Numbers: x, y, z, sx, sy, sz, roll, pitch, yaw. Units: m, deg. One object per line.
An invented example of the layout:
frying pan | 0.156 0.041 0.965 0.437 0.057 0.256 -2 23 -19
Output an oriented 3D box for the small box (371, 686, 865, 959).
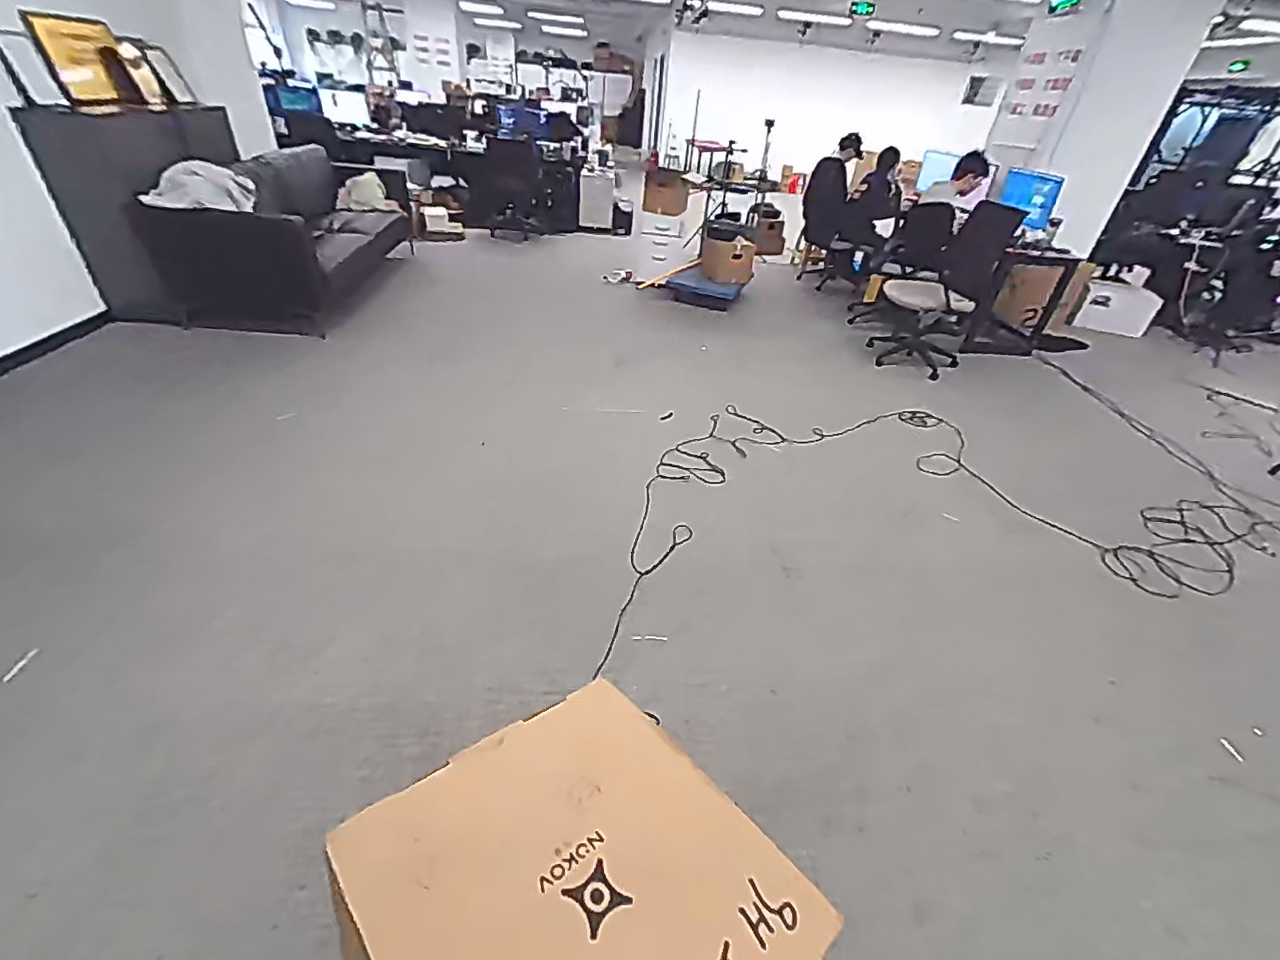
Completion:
small box | -0.024 0.255 0.283 0.168 0.176 0.179 -16 35 -41
